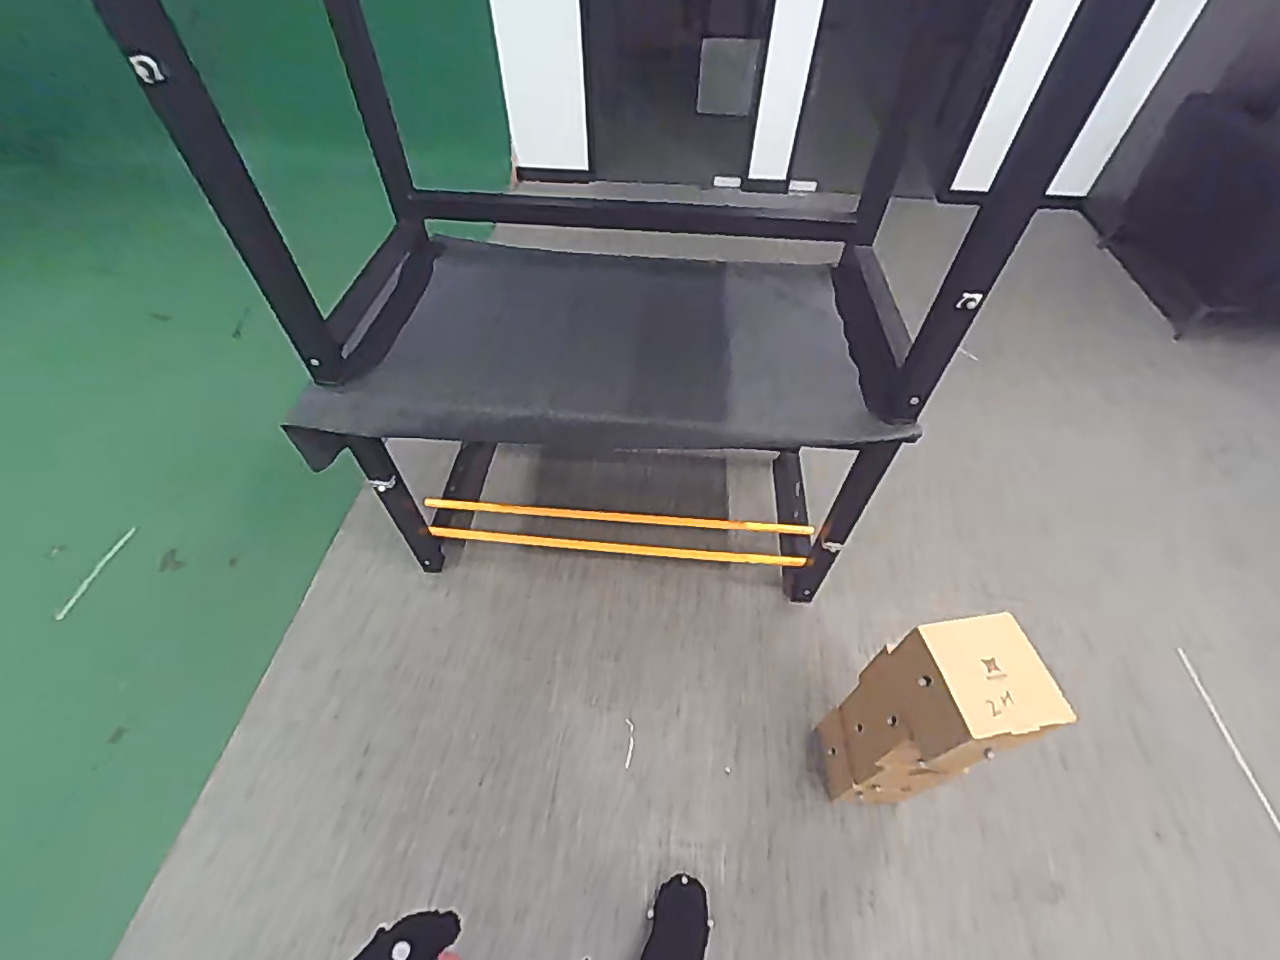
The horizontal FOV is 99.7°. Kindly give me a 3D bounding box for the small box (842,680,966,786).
[{"bbox_3d":[0.544,0.534,1.143,0.168,0.176,0.179,2,50,1],"label":"small box"}]

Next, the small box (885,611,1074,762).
[{"bbox_3d":[0.532,0.337,0.882,0.168,0.176,0.179,-7,52,-5],"label":"small box"}]

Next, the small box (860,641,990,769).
[{"bbox_3d":[0.533,0.426,1.021,0.168,0.176,0.179,4,51,3],"label":"small box"}]
